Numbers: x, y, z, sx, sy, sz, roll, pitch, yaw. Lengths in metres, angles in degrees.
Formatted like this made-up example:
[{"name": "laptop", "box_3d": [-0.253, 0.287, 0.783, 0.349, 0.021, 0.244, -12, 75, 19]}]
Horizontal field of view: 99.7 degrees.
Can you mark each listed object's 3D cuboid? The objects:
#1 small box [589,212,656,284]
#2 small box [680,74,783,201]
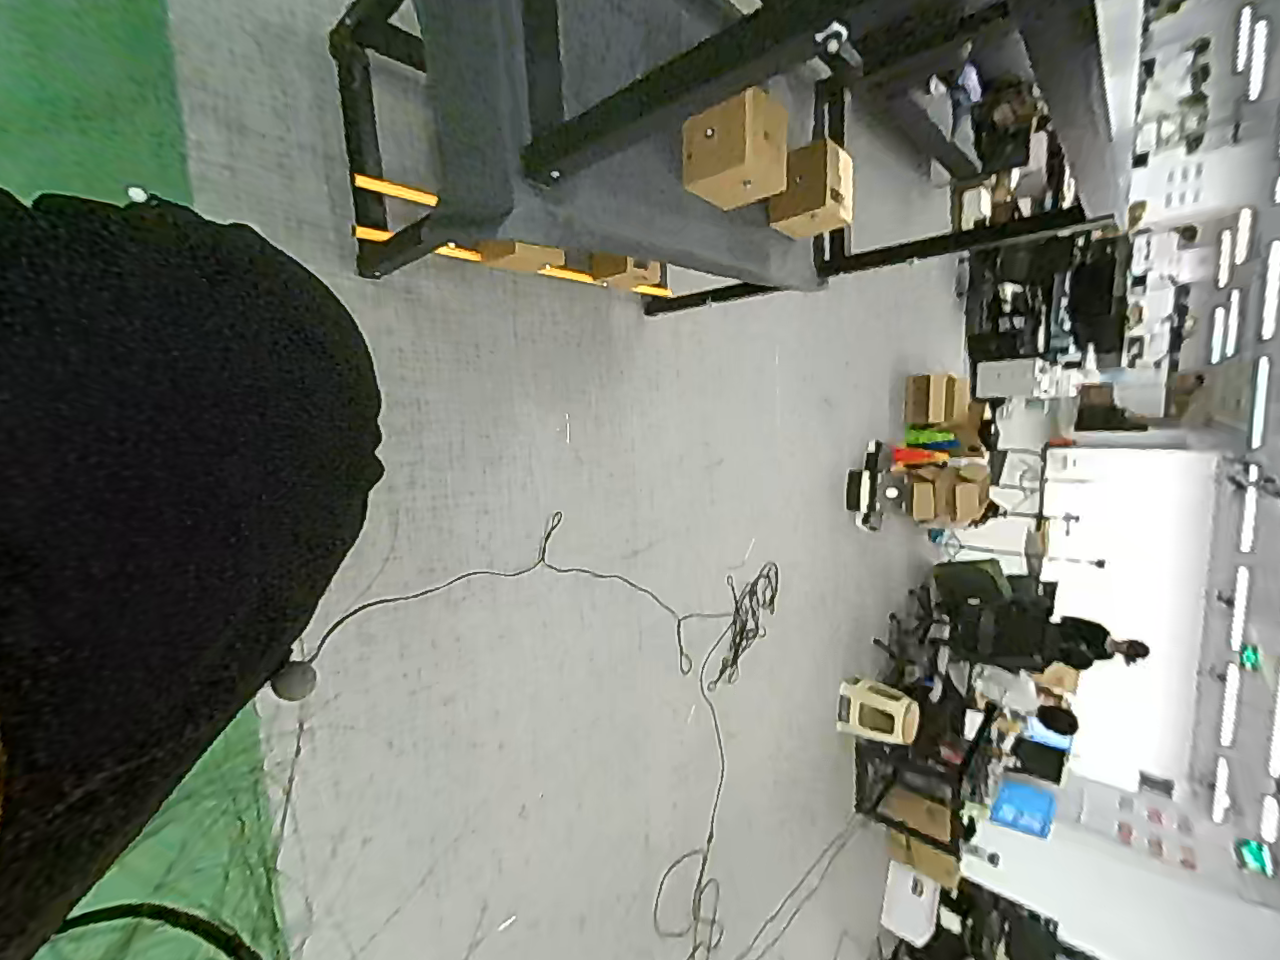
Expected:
[{"name": "small box", "box_3d": [-0.063, -0.781, 1.843, 0.168, 0.176, 0.179, -6, 99, -48]}, {"name": "small box", "box_3d": [0.203, -0.749, 1.209, 0.179, 0.176, 0.168, -7, 99, -47]}]
